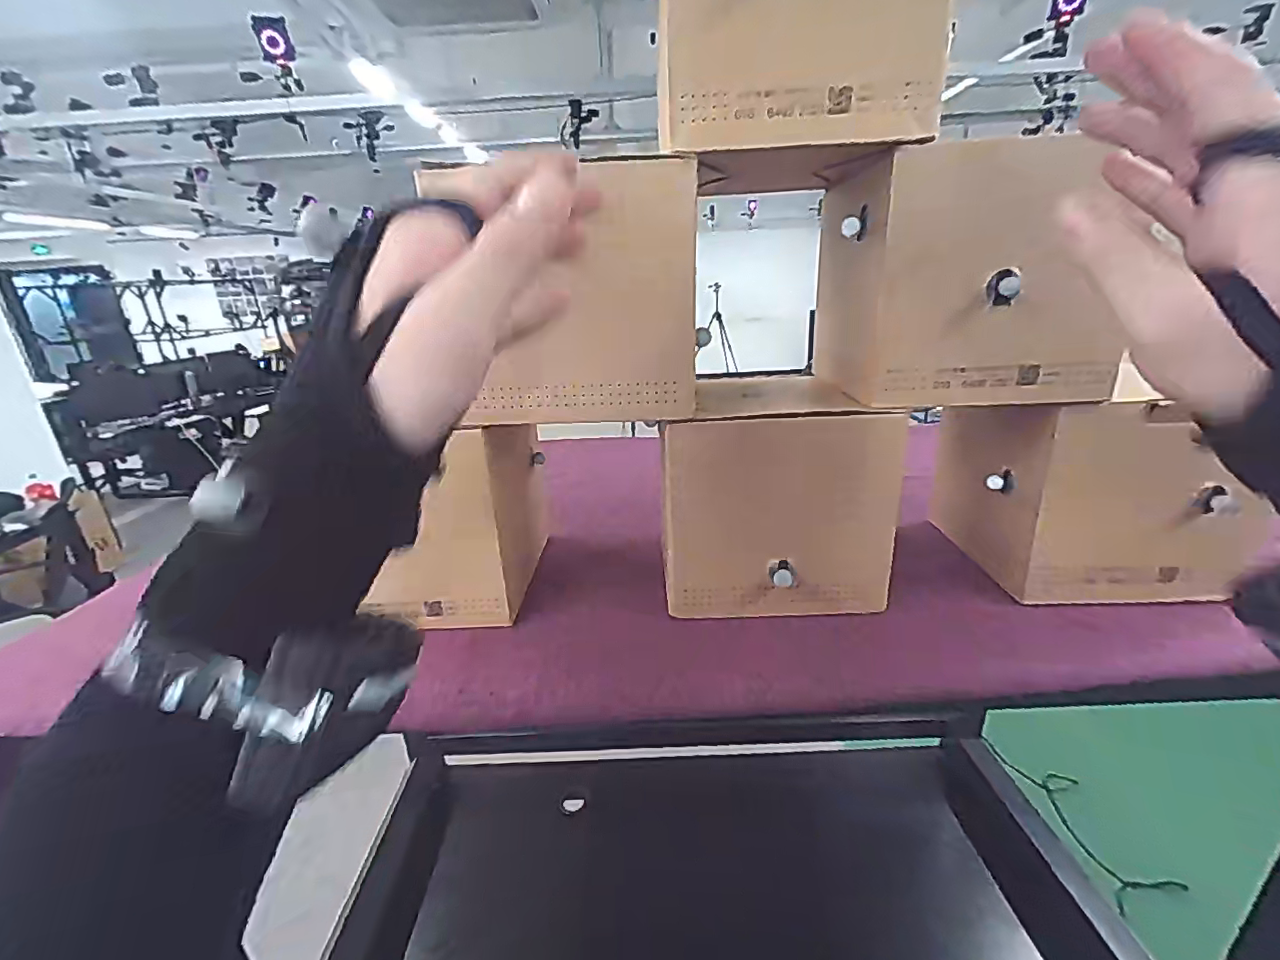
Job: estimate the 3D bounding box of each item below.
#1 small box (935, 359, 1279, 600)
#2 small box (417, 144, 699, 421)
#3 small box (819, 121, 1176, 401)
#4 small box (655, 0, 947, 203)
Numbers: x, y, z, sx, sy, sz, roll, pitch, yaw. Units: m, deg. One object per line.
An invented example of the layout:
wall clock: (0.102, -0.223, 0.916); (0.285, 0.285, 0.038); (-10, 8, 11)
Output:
small box: (0.386, -0.007, 0.475); (0.168, 0.176, 0.179); (-1, 19, 5)
small box: (-0.046, -0.144, 0.429); (0.179, 0.176, 0.168); (-1, 19, 3)
small box: (0.246, -0.158, 0.428); (0.168, 0.176, 0.179); (-1, 19, 5)
small box: (0.097, -0.305, 0.378); (0.168, 0.176, 0.179); (-3, 19, 2)
